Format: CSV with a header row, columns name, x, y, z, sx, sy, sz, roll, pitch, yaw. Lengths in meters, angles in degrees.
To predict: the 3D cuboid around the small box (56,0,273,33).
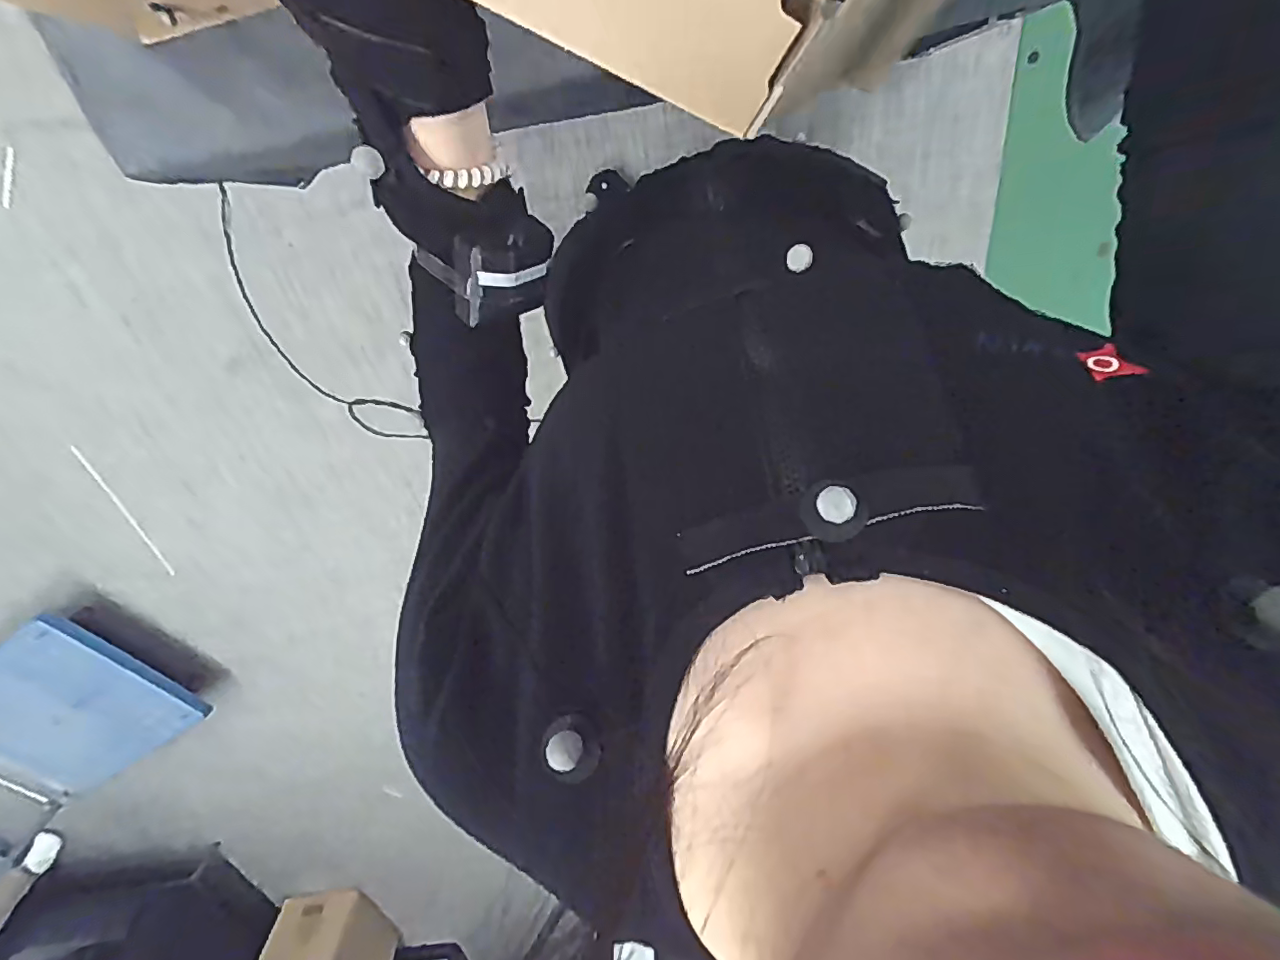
name,x,y,z,sx,sy,sz,roll,pitch,yaw
small box,-0.423,-0.480,0.405,0.168,0.176,0.179,-11,119,5
